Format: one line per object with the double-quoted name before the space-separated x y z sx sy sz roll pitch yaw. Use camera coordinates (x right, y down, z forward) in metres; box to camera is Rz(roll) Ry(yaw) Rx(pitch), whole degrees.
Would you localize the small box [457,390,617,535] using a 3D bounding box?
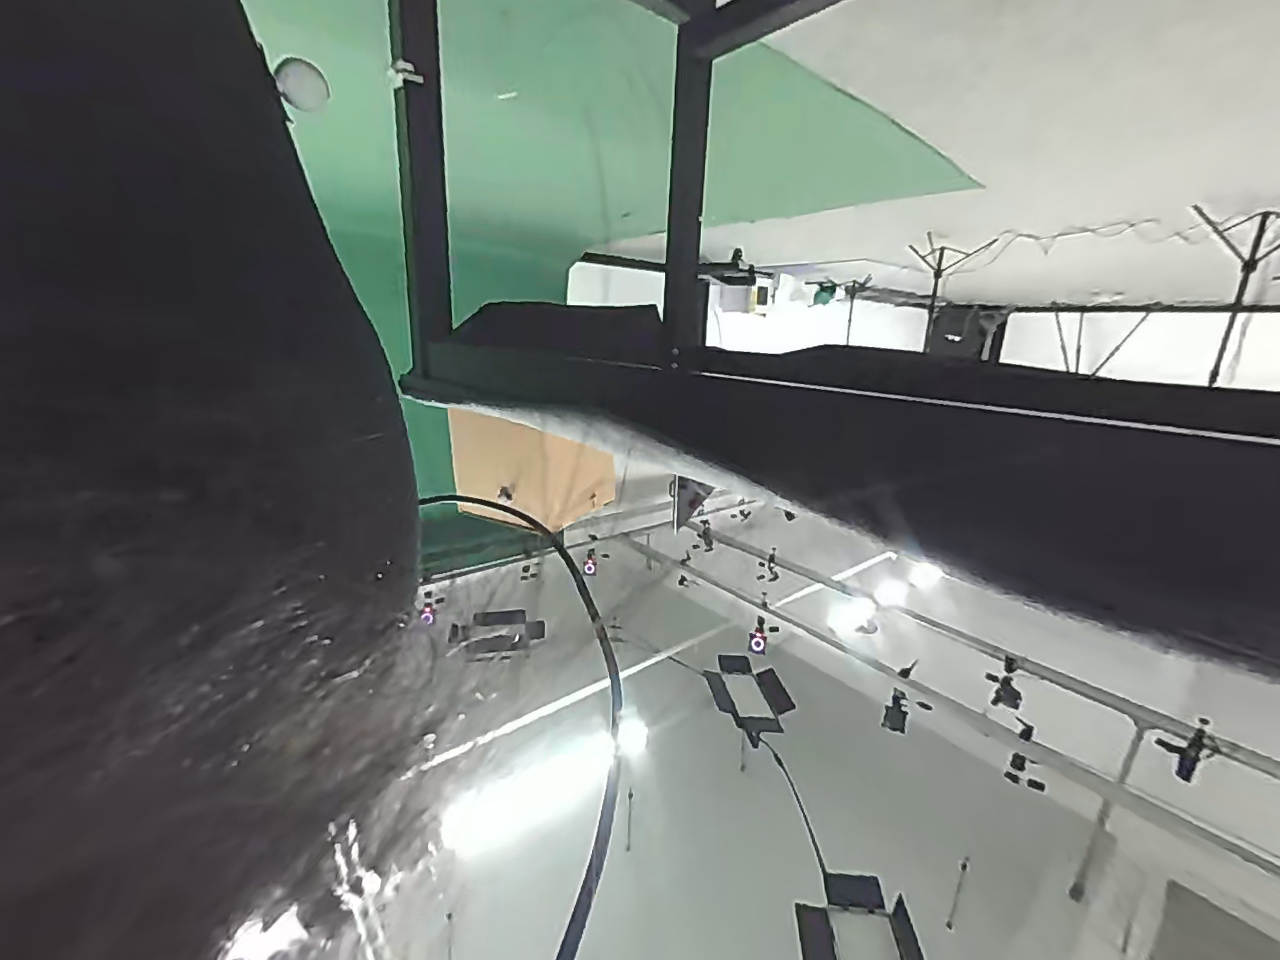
"small box" -0.151 -0.037 0.803 0.179 0.176 0.168 9 -161 28
